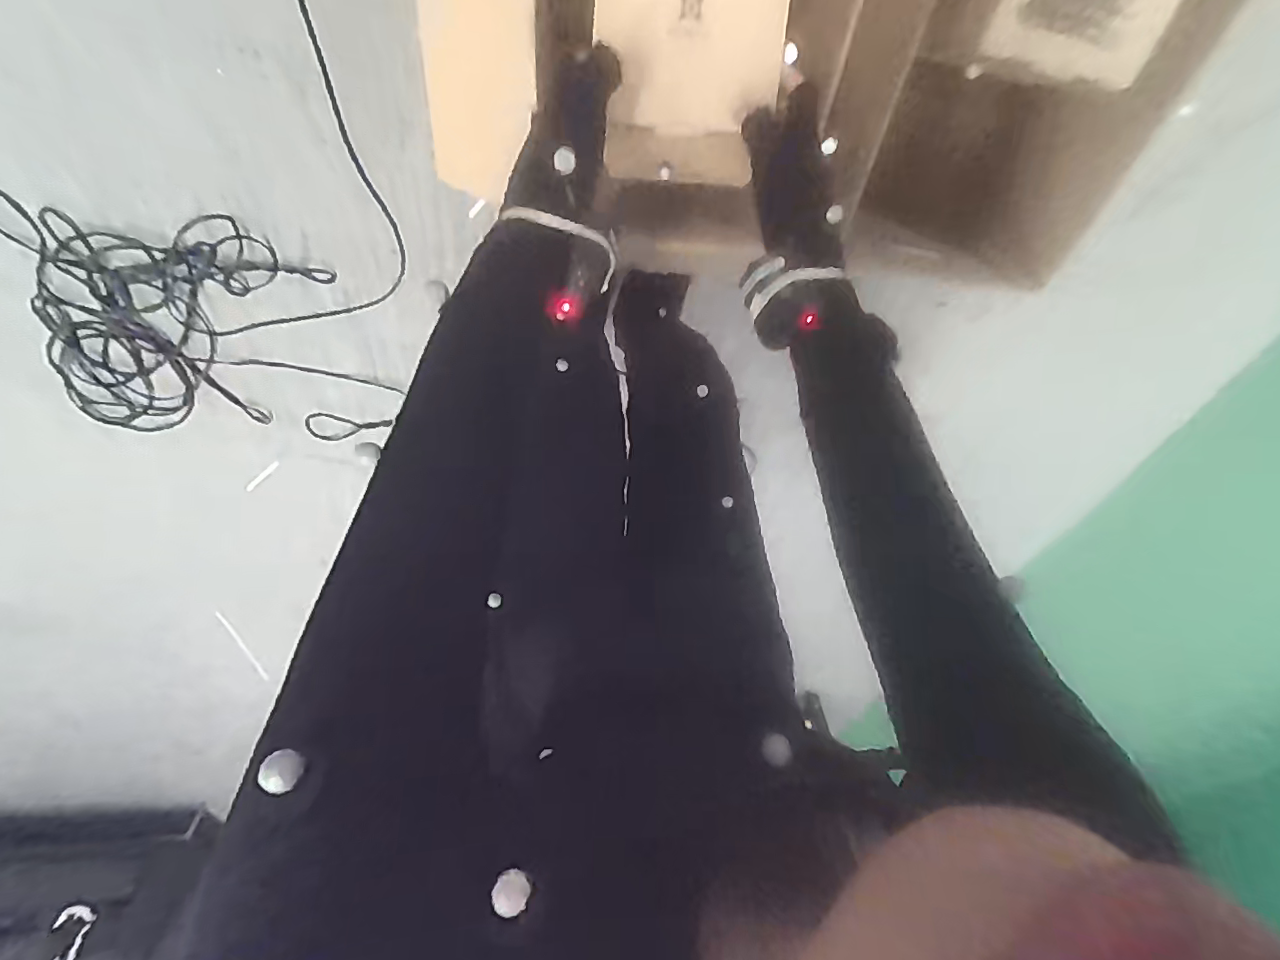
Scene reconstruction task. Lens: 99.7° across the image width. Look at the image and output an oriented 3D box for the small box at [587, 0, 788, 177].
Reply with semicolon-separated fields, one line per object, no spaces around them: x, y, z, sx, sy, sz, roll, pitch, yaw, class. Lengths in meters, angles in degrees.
0.045;-0.417;0.527;0.168;0.176;0.179;5;108;3;small box
